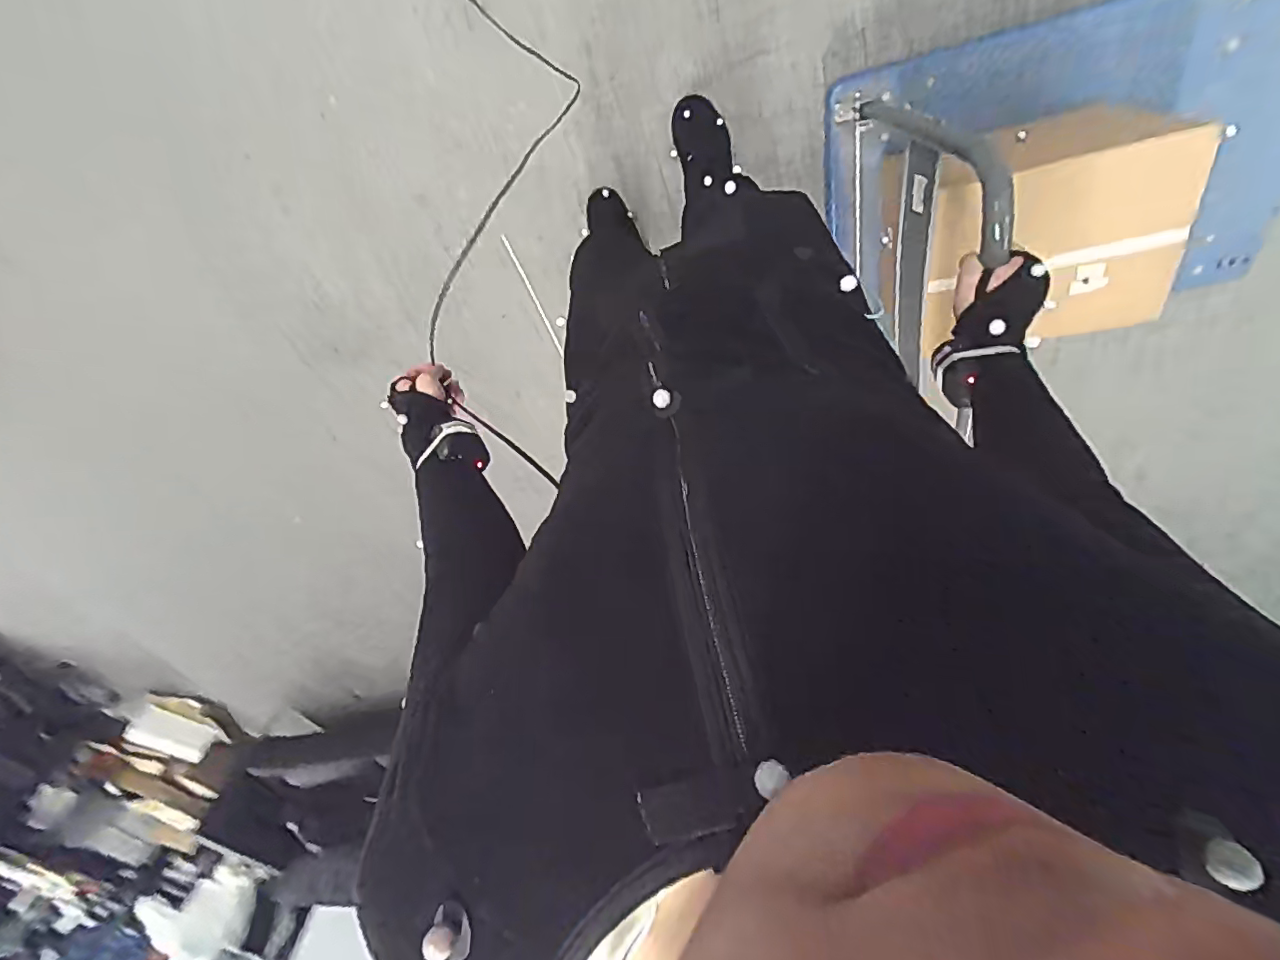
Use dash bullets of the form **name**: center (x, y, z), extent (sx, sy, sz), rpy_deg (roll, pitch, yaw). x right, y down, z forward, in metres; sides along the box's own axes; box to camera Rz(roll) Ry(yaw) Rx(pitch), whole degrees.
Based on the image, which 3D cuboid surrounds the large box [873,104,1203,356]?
- **large box**: center (0.704, -0.487, 1.055), extent (0.408, 0.320, 0.320), rpy_deg (-9, 128, 13)
